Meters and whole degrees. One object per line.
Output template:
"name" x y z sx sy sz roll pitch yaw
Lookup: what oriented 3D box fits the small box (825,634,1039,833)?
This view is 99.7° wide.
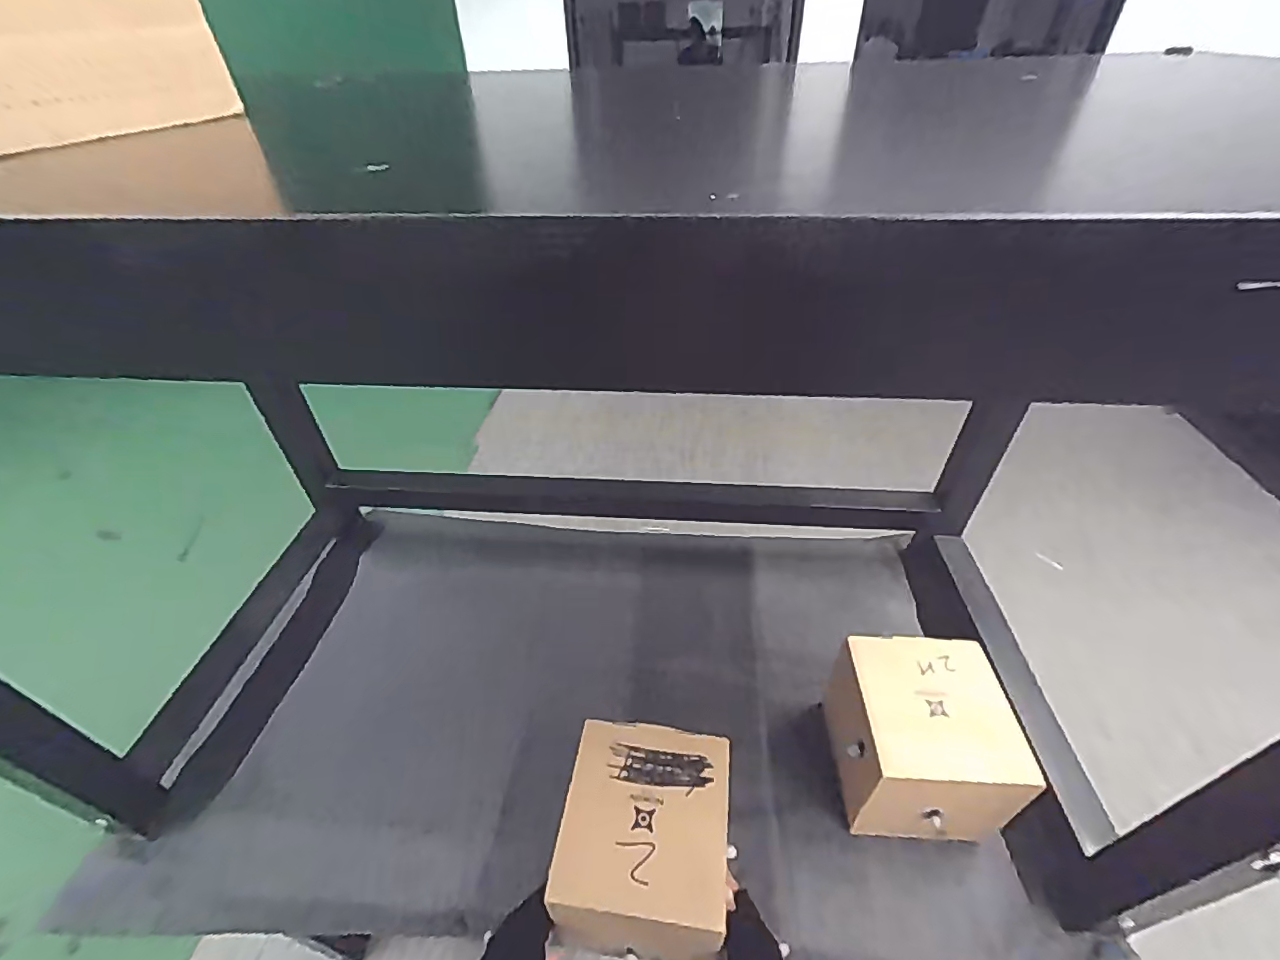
"small box" 0.344 0.319 0.681 0.168 0.176 0.179 2 39 4
